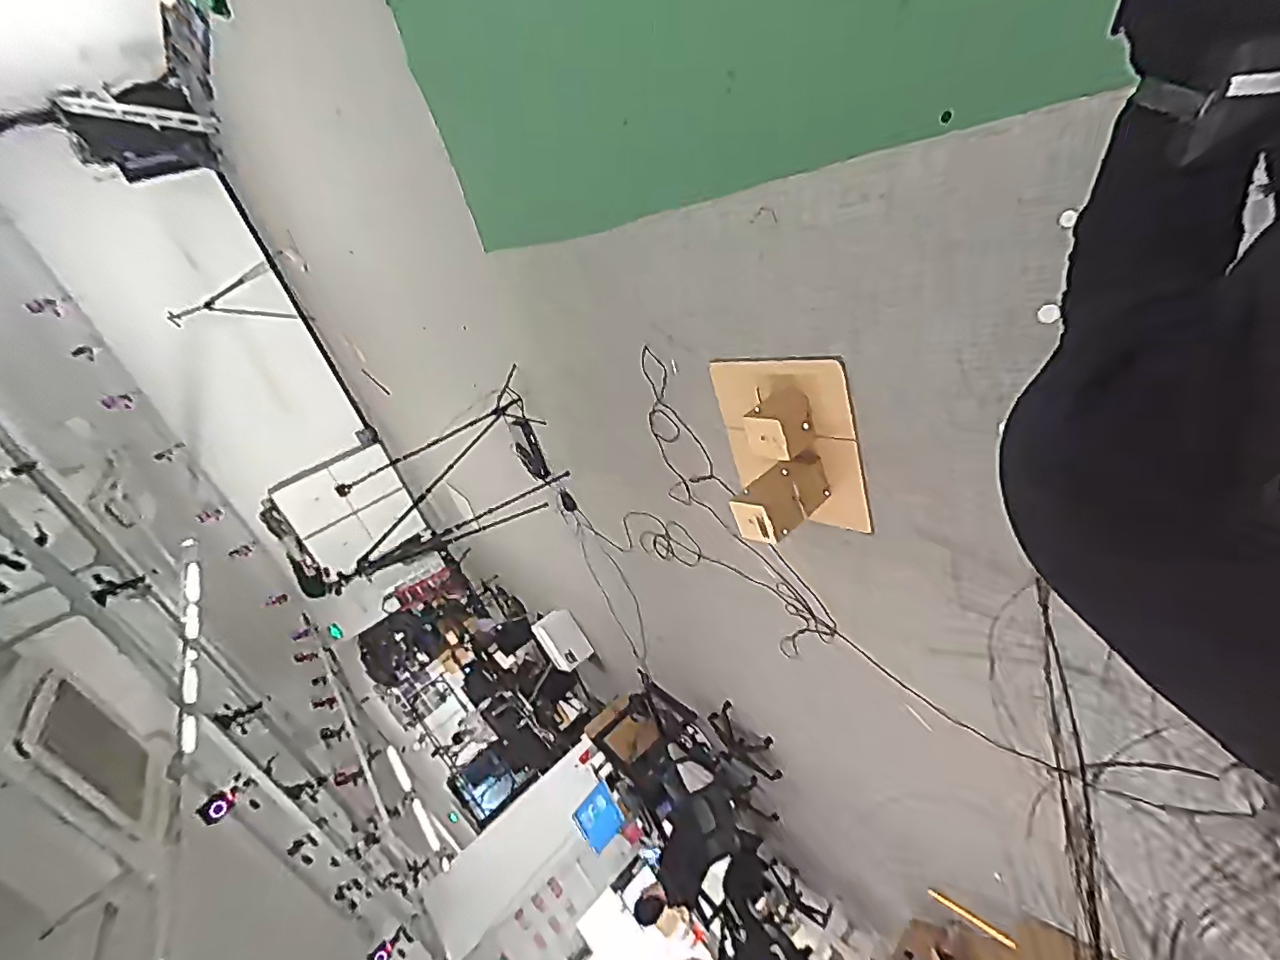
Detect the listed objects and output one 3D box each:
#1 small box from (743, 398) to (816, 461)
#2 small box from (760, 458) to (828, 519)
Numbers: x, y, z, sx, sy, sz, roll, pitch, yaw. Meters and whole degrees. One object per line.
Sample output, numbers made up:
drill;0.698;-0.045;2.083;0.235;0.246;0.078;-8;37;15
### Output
small box;0.510;-0.189;1.964;0.179;0.176;0.168;14;132;51
small box;0.594;0.028;2.059;0.179;0.176;0.168;9;127;54
